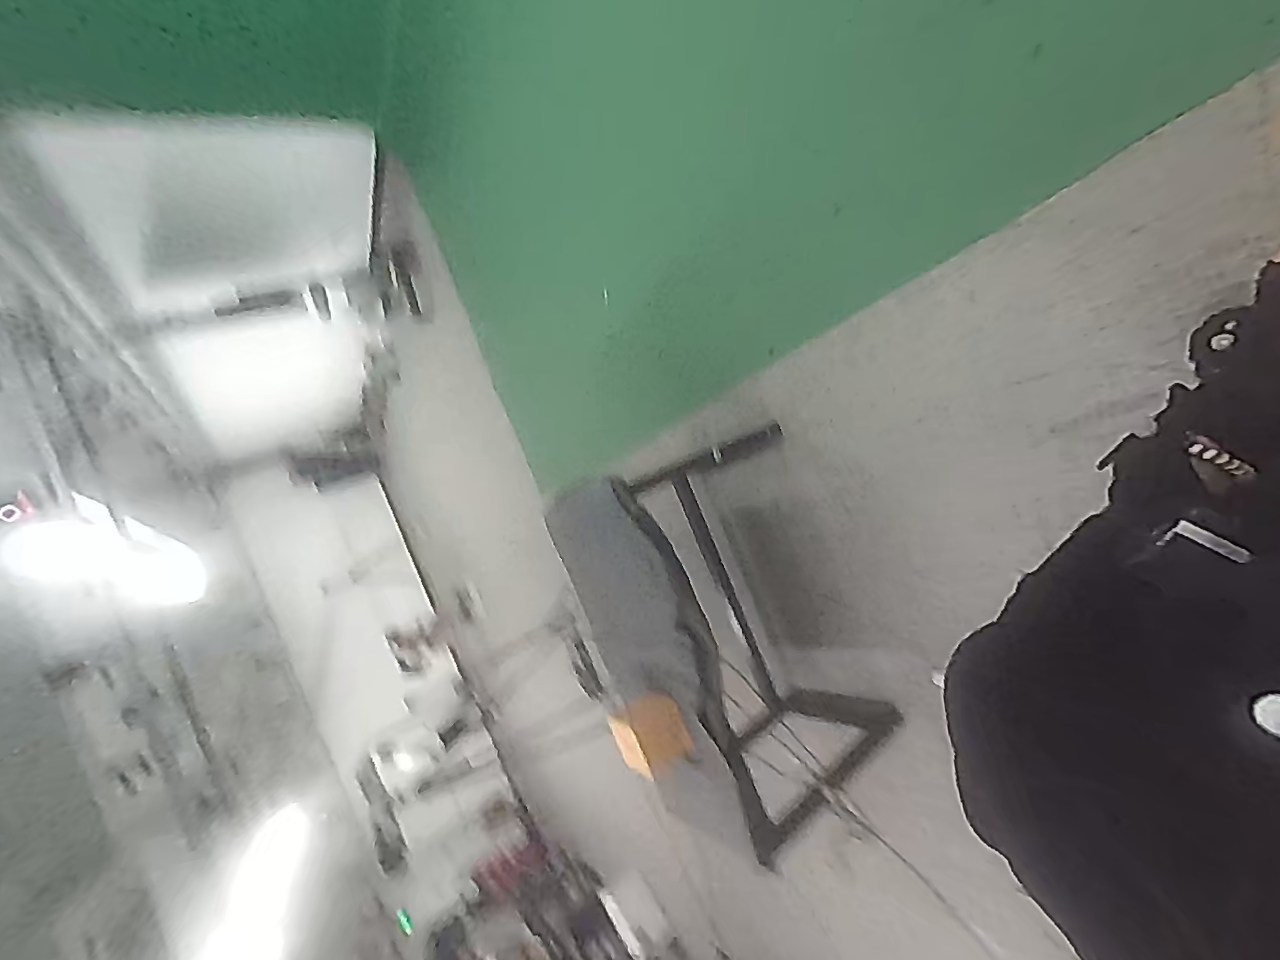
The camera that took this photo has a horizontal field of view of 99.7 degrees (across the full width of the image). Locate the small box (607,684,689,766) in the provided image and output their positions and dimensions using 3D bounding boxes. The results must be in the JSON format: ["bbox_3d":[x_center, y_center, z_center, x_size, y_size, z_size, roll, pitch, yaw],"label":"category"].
[{"bbox_3d":[0.026,0.776,1.733,0.179,0.176,0.168,-23,89,59],"label":"small box"}]
